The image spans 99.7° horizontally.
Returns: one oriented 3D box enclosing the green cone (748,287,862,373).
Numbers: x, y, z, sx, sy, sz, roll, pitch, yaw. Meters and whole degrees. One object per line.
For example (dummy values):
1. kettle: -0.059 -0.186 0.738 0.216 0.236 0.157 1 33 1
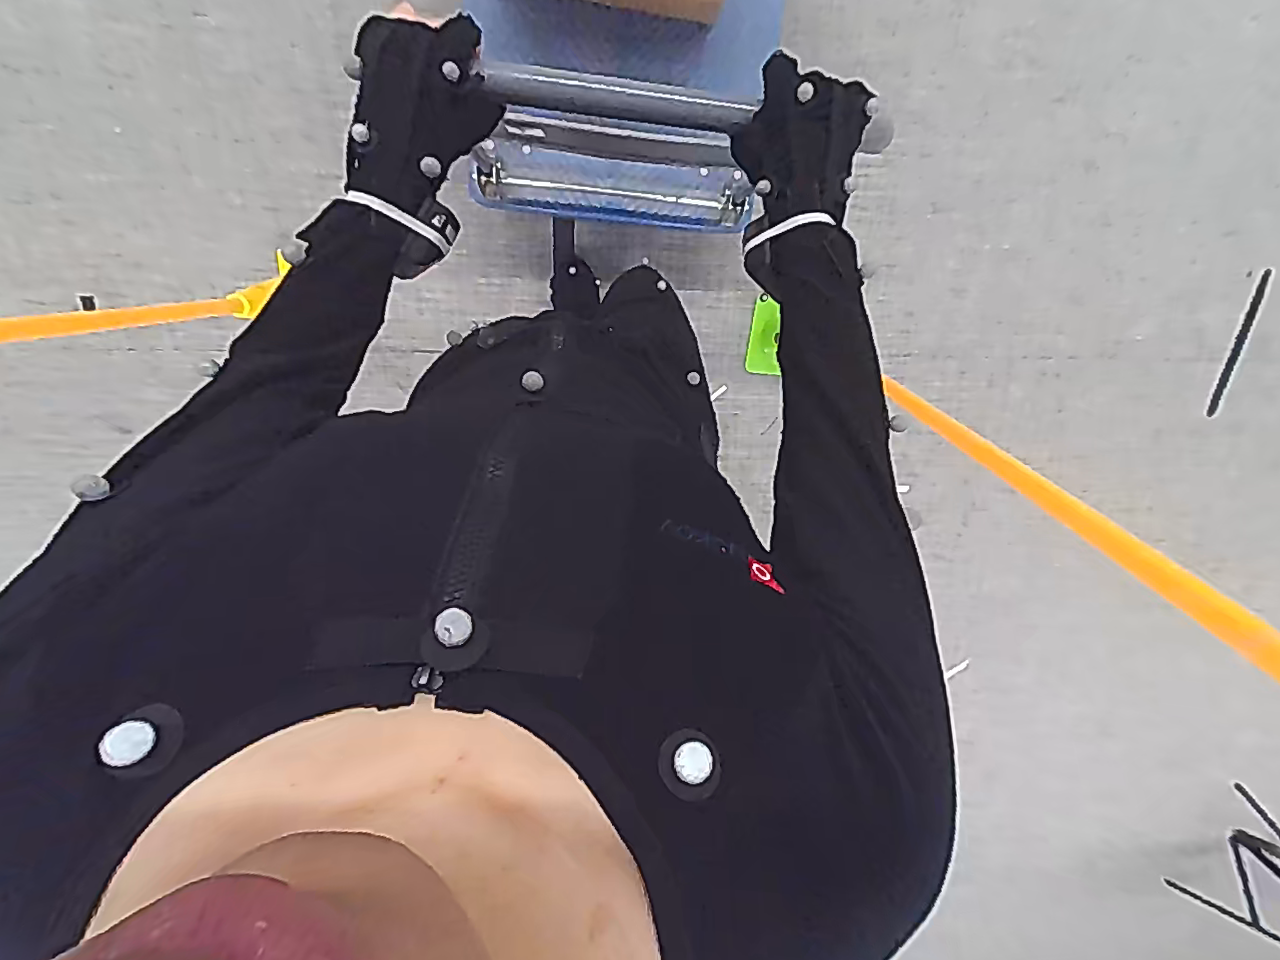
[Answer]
1. green cone: 0.399 -0.316 1.228 0.202 0.368 0.200 4 112 -7
